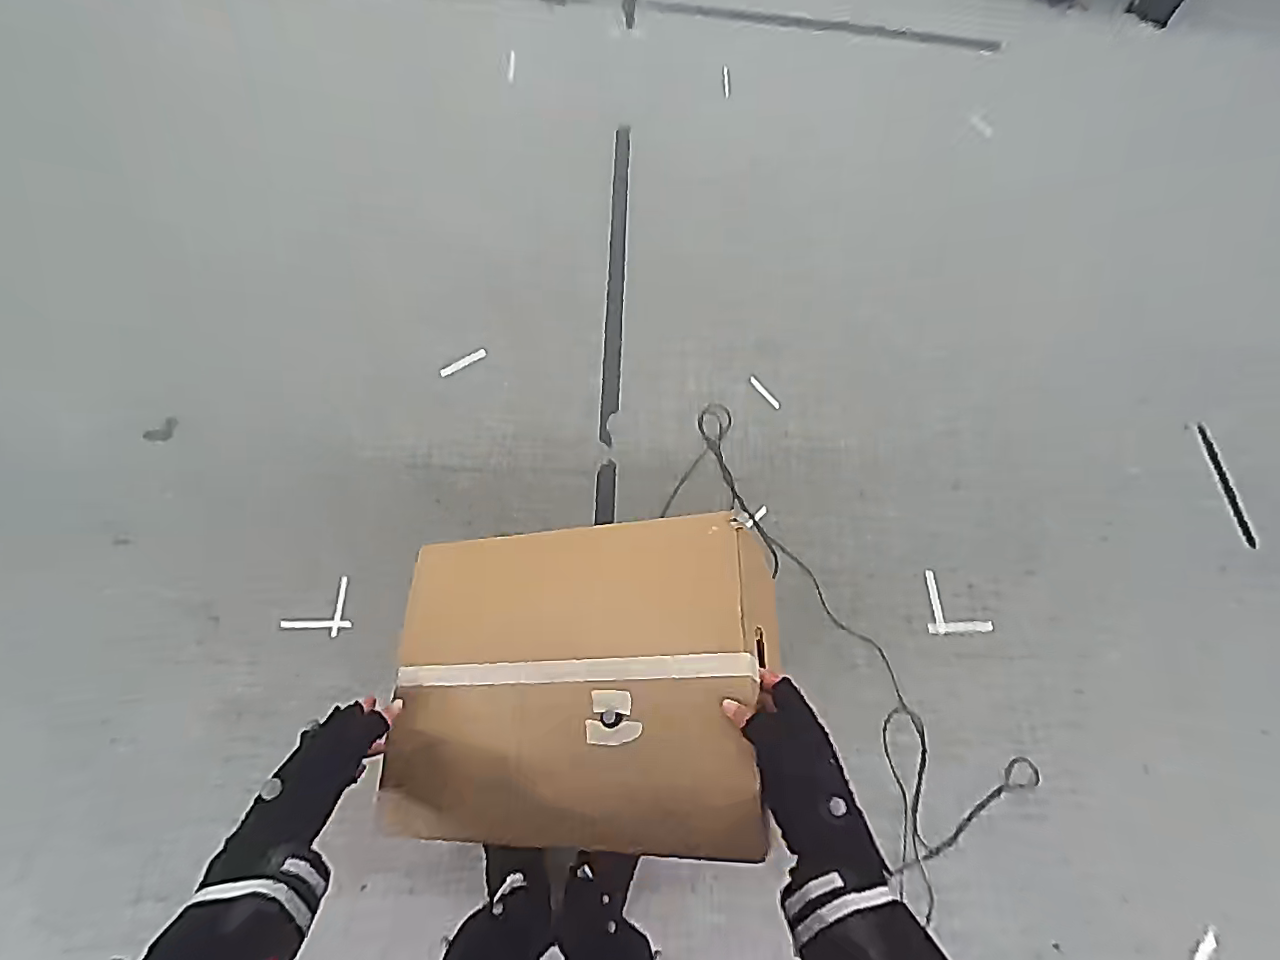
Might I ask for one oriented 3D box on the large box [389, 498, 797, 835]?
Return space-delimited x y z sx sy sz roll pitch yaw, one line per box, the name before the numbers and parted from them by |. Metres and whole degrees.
large box | -0.029 0.245 0.694 0.408 0.320 0.320 -8 65 16
